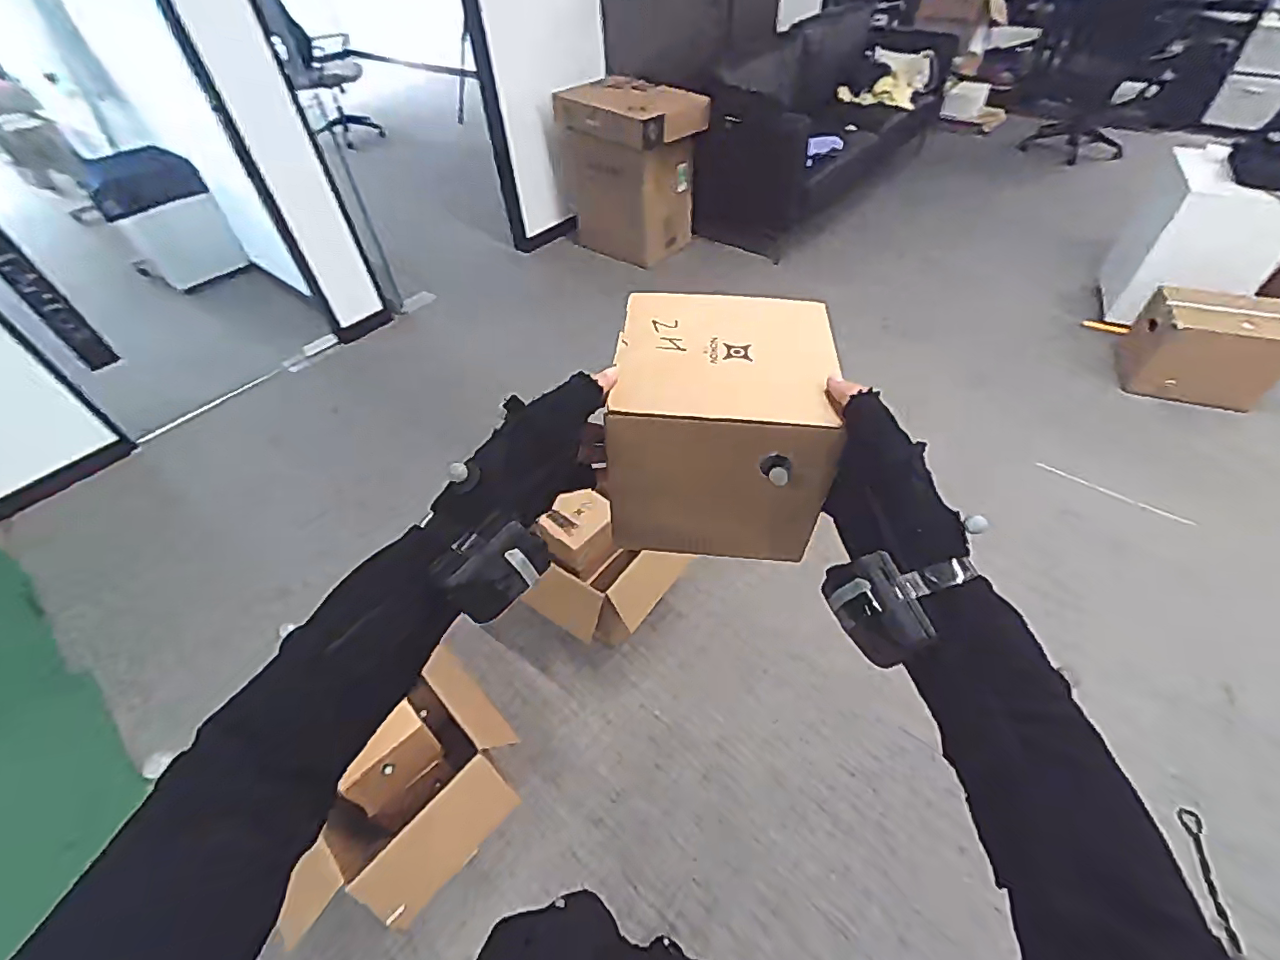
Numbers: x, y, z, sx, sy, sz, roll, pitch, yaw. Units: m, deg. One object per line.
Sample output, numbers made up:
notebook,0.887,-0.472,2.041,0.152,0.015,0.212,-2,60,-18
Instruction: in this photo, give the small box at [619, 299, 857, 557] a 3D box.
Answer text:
small box,0.078,-0.045,0.502,0.179,0.176,0.168,5,47,4

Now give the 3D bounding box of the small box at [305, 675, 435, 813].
small box,-0.560,0.560,1.148,0.179,0.176,0.168,-36,55,-28
